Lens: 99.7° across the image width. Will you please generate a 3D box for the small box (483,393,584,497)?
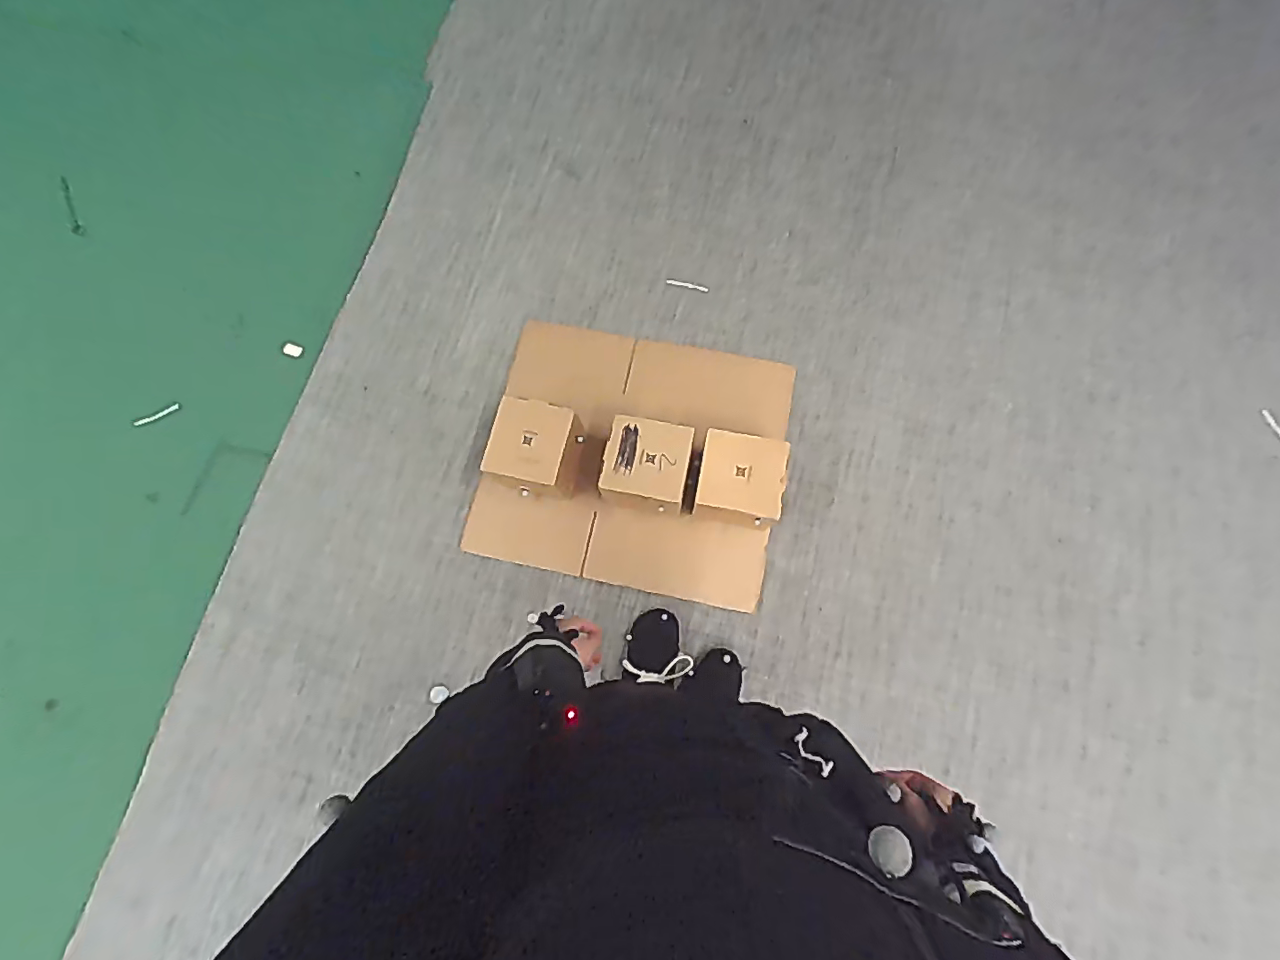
[{"bbox_3d":[-0.229,-0.072,1.217,0.168,0.176,0.179,12,79,6],"label":"small box"}]
